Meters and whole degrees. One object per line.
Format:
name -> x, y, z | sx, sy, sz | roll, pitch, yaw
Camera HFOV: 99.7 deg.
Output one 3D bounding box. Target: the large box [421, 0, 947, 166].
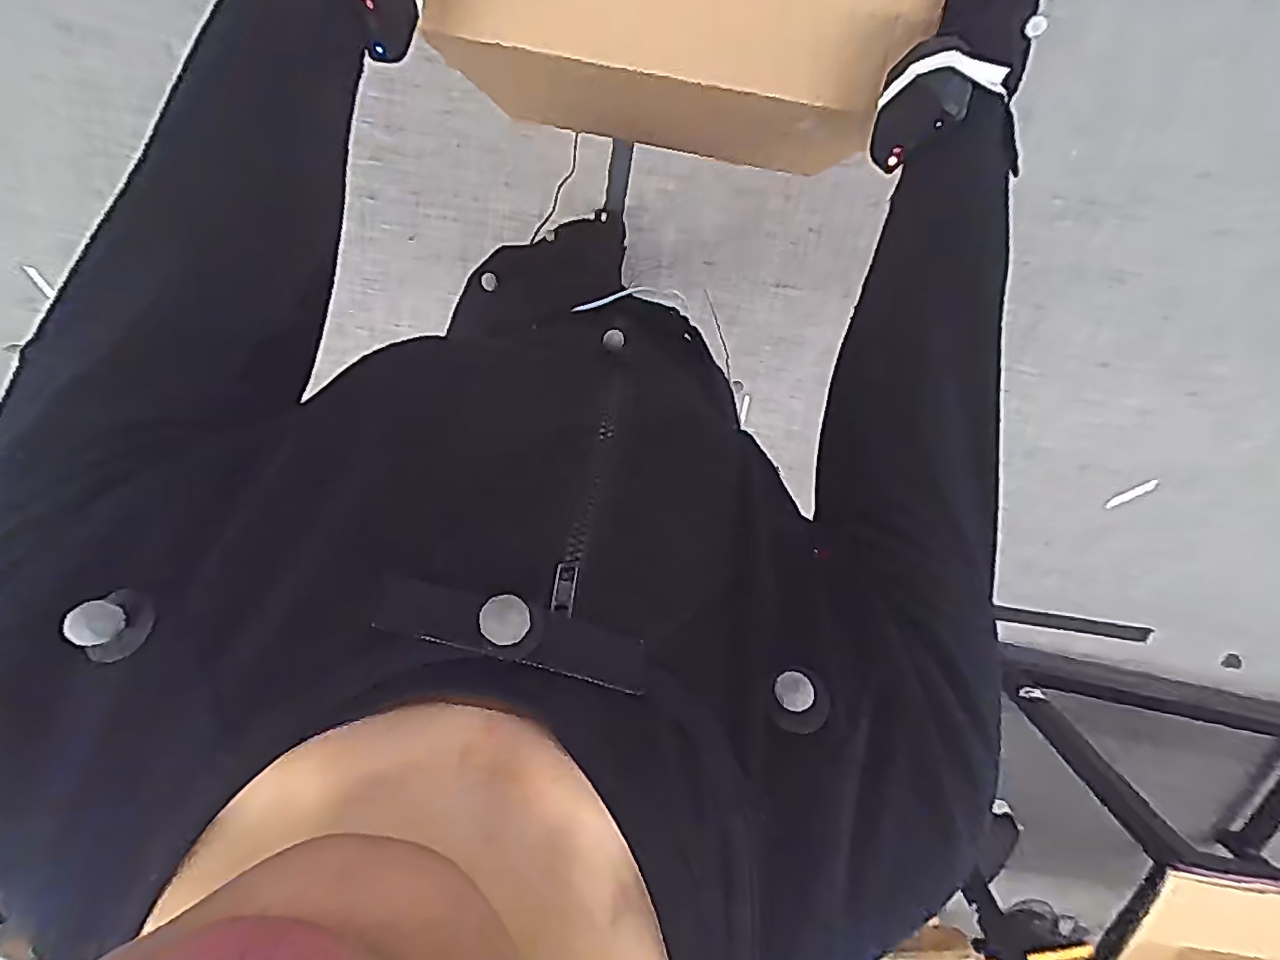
large box -> 0.052, -0.520, 0.505 | 0.408, 0.320, 0.320 | 10, 114, -2
